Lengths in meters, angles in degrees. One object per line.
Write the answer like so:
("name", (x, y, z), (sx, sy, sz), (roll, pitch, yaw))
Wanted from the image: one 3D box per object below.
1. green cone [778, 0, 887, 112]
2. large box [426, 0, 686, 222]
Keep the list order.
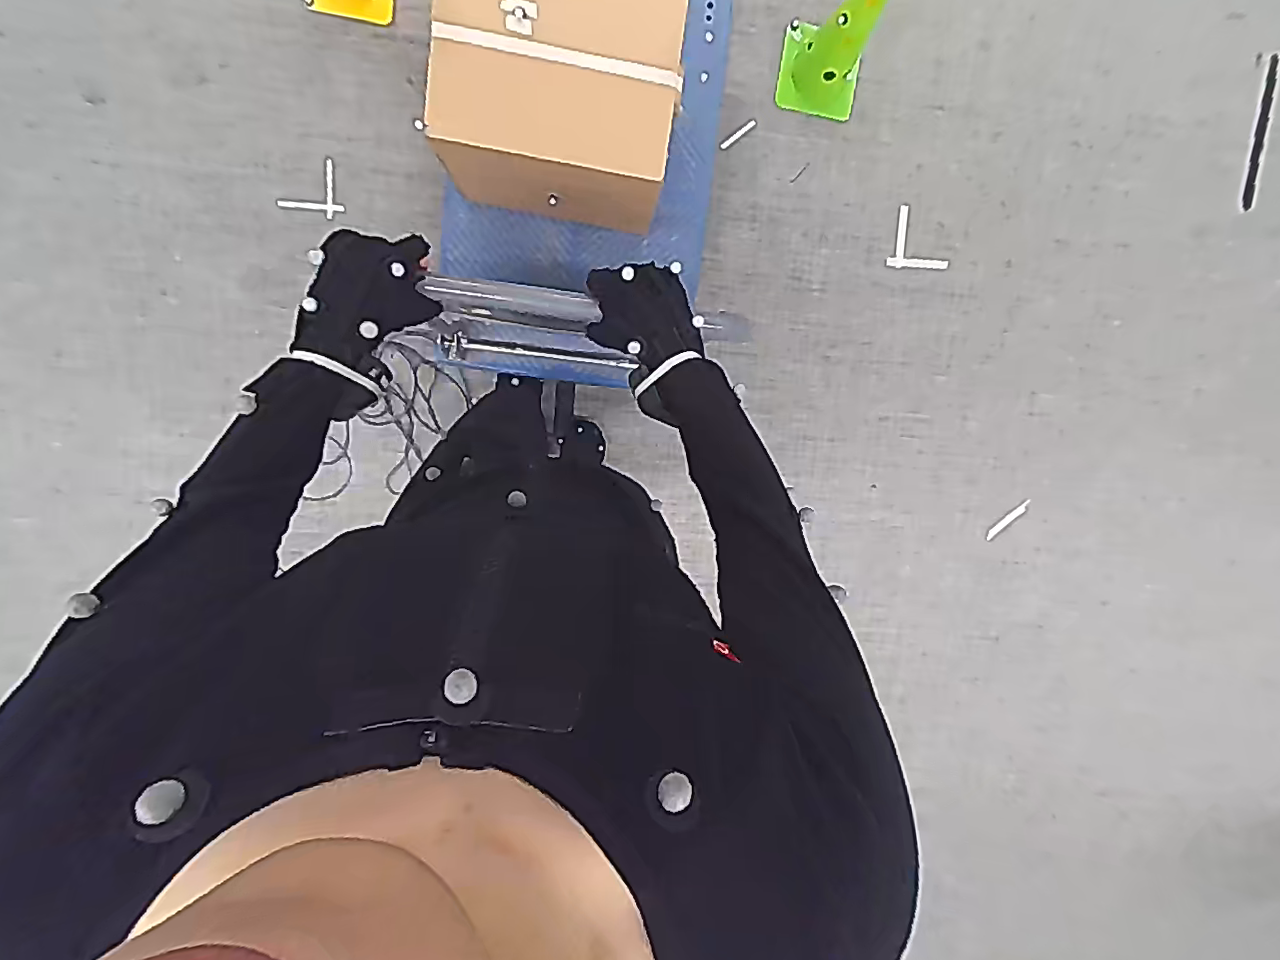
("green cone", (0.470, -1.017, 1.183), (0.202, 0.368, 0.200), (8, 98, -7))
("large box", (-0.145, -0.721, 1.030), (0.408, 0.320, 0.320), (8, 98, -5))
